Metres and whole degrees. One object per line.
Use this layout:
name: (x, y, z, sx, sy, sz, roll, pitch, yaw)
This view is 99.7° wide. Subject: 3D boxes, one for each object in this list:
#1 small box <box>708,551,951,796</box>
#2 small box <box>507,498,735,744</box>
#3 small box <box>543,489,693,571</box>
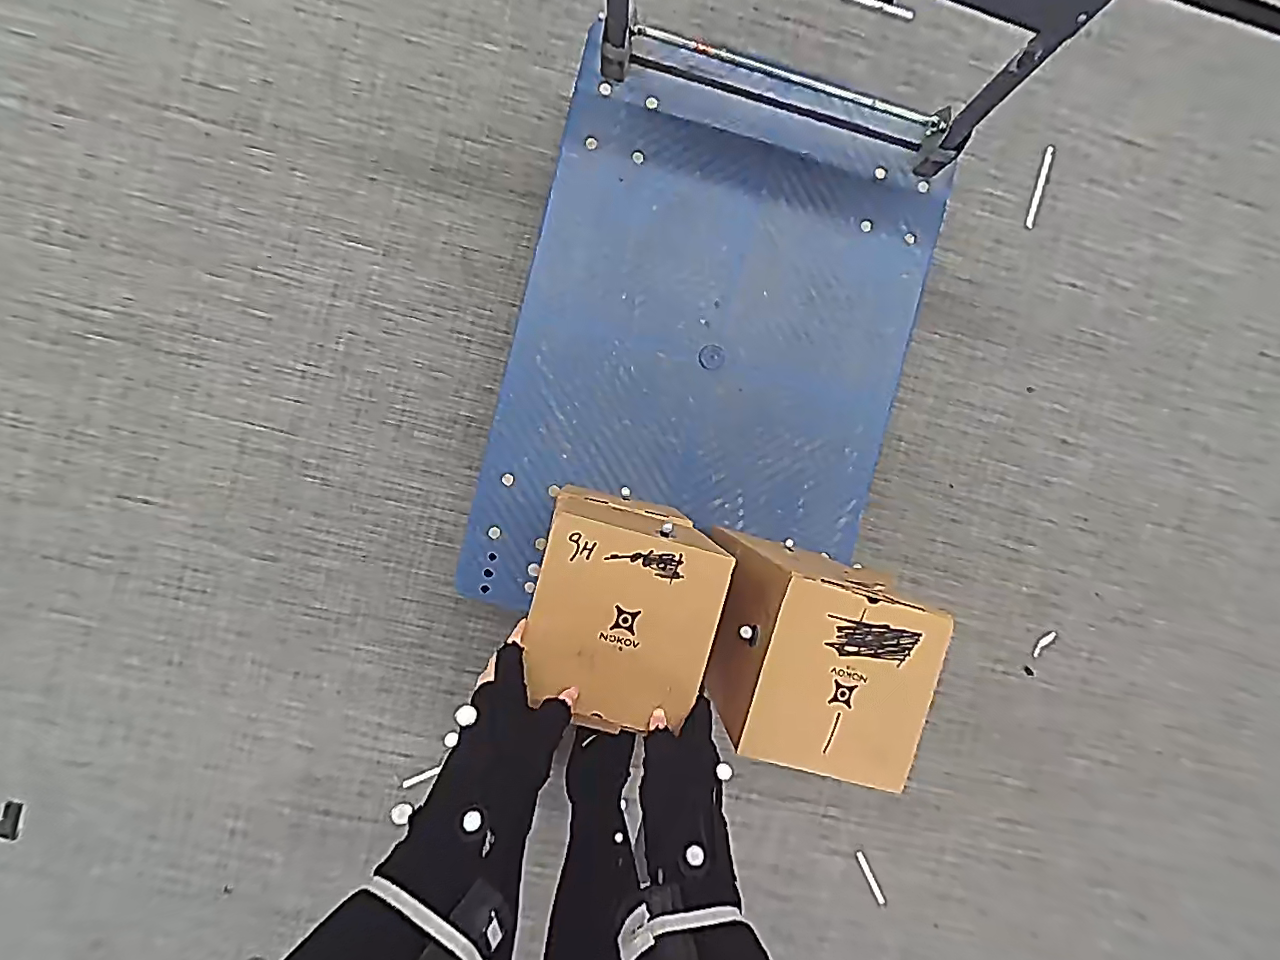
small box: (0.182, 0.187, 0.577, 0.168, 0.176, 0.179, 17, 92, -4)
small box: (-0.022, 0.129, 0.557, 0.168, 0.176, 0.179, 17, 92, -6)
small box: (-0.039, 0.116, 0.723, 0.168, 0.176, 0.179, 13, 91, -5)
